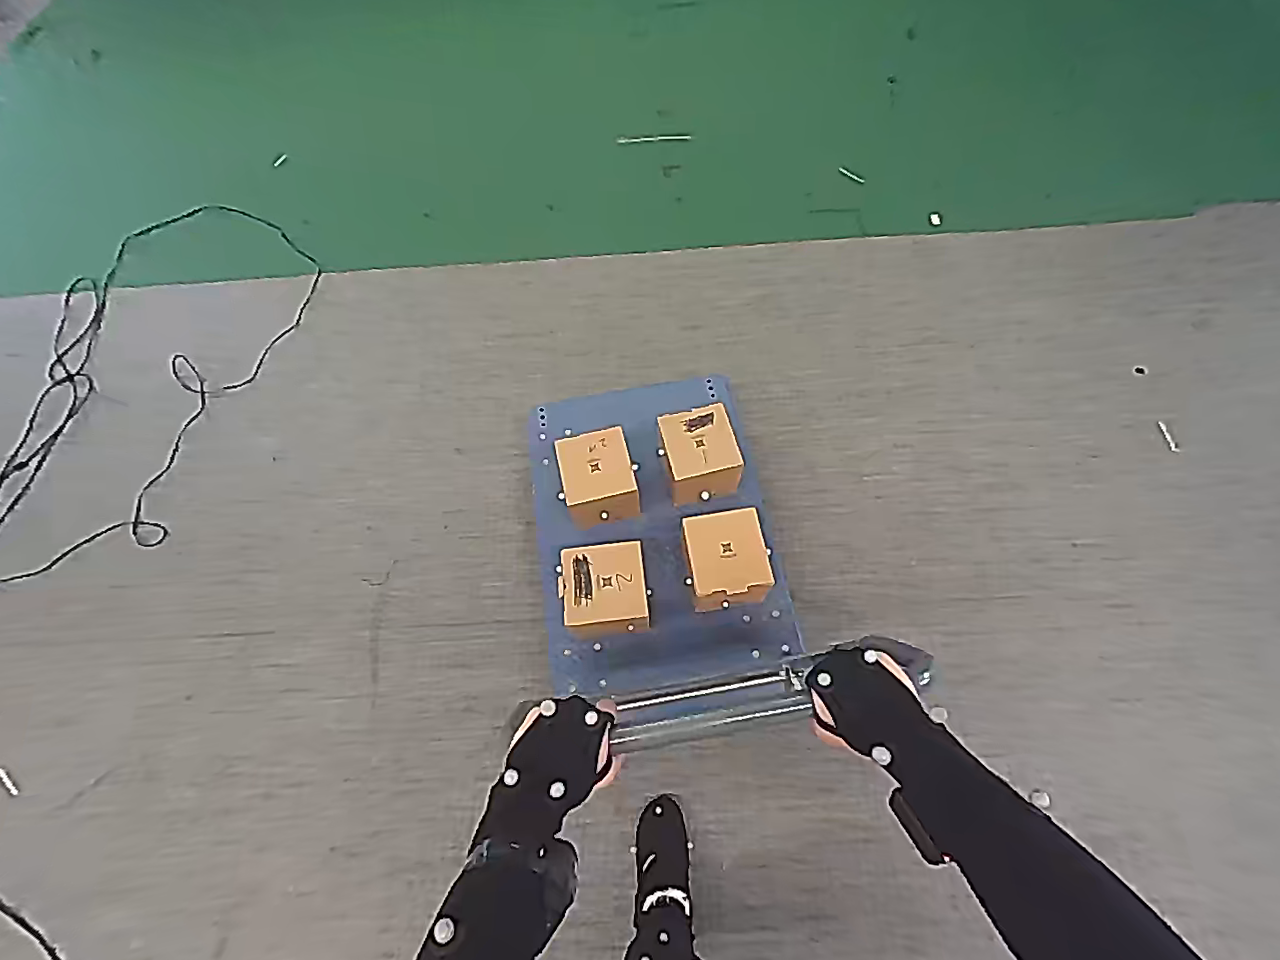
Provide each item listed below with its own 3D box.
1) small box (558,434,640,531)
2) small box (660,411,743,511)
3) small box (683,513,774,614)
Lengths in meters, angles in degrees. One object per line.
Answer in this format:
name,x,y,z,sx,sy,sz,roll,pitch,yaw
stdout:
small box,-0.097,0.015,1.345,0.168,0.176,0.179,-13,65,-4
small box,0.147,-0.045,1.360,0.168,0.176,0.179,-14,66,-3
small box,0.195,0.196,1.246,0.168,0.176,0.179,-9,65,-2
